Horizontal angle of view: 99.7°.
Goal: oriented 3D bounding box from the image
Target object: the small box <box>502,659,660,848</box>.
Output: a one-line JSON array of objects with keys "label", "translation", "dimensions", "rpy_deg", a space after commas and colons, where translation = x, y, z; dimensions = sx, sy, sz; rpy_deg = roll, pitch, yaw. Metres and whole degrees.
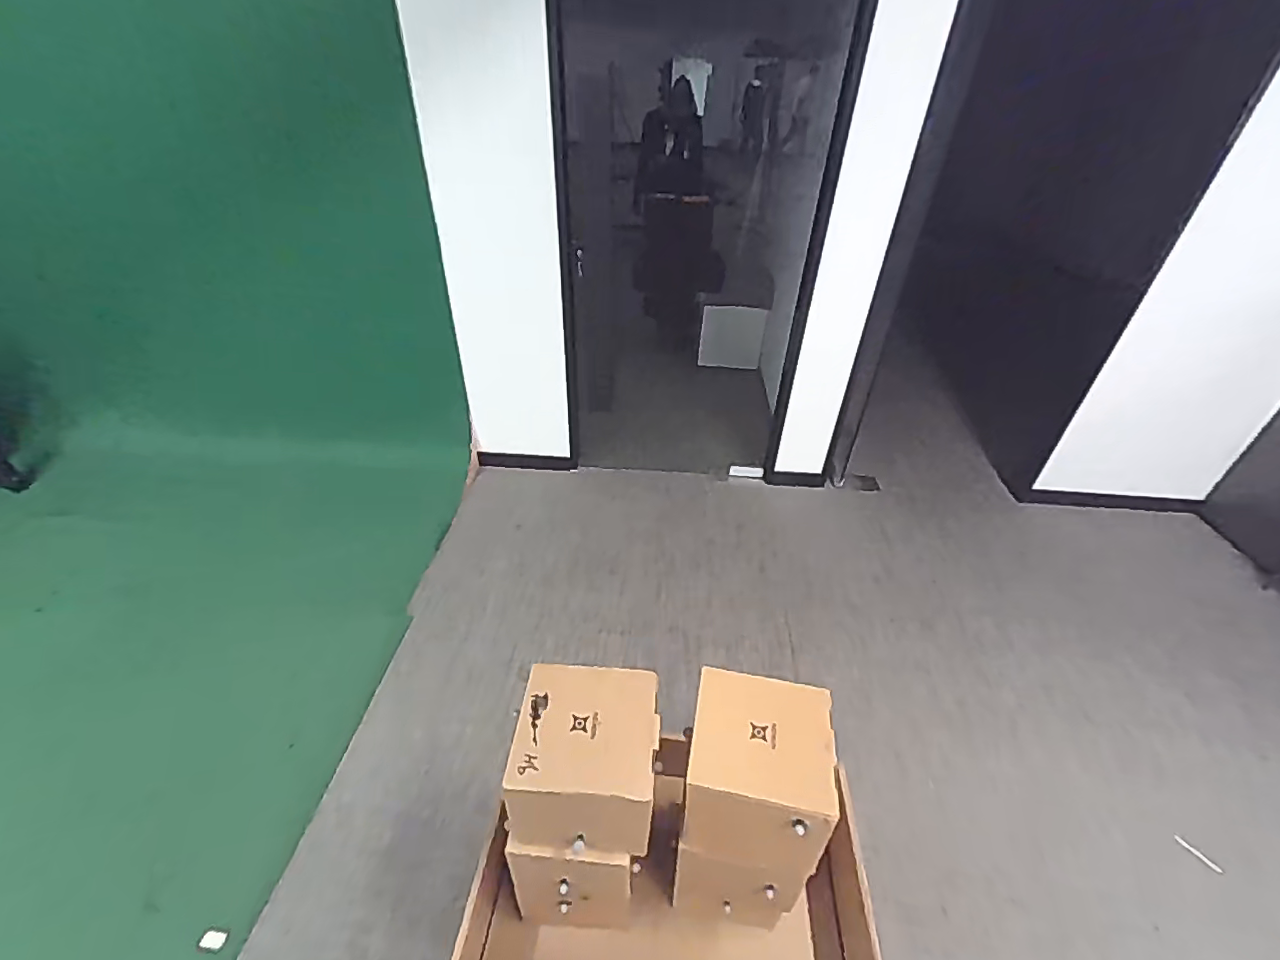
[{"label": "small box", "translation": [-0.070, 0.367, 0.724], "dimensions": [0.179, 0.176, 0.168], "rpy_deg": [5, 38, 2]}]
